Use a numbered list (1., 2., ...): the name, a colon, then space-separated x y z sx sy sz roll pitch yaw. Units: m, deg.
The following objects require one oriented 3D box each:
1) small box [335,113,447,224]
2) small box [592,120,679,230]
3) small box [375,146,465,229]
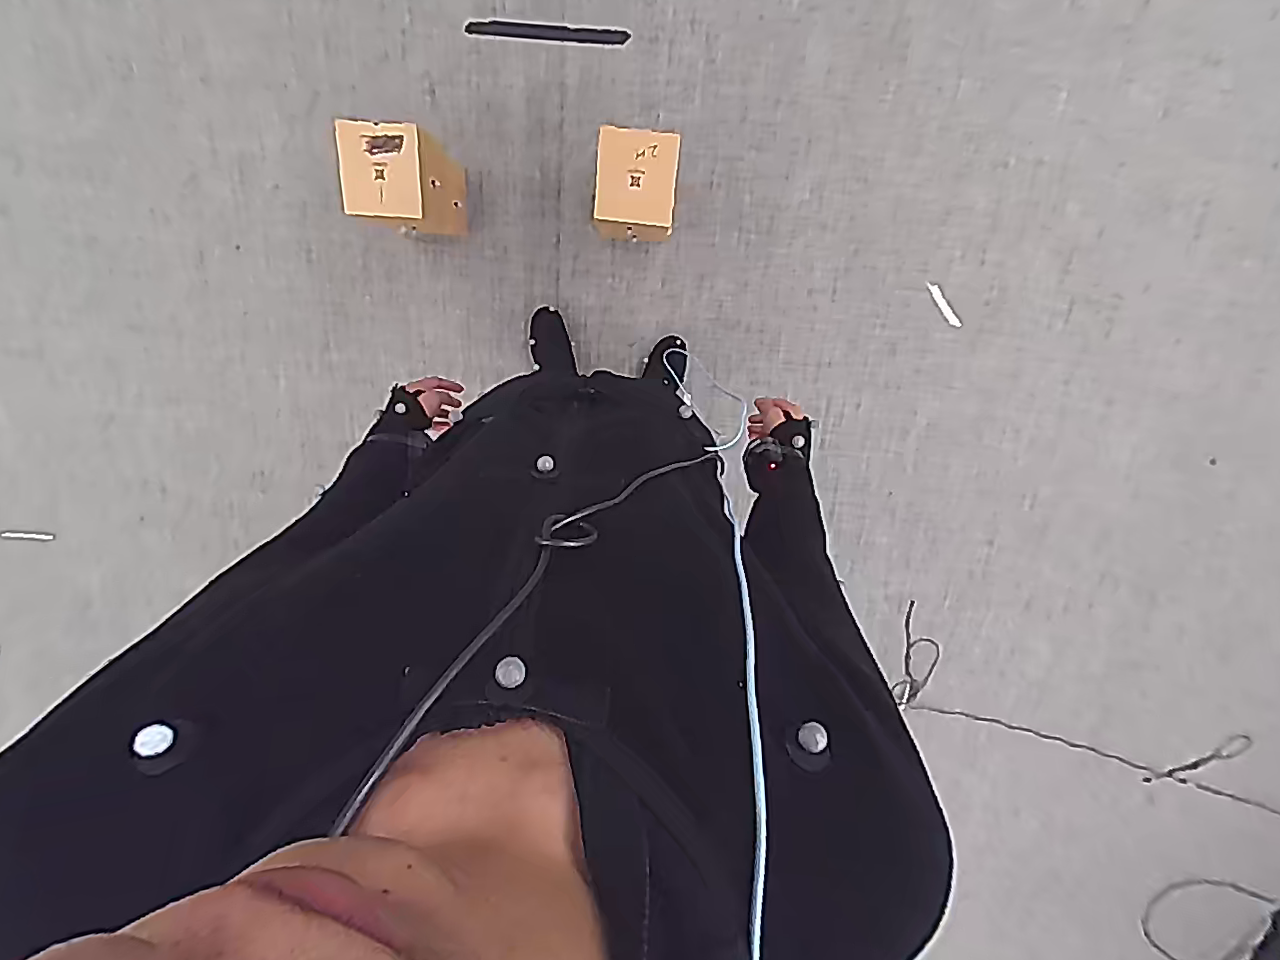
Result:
1. small box: -0.529 -0.665 1.171 0.168 0.176 0.179 3 110 -1
2. small box: -0.011 -0.655 1.184 0.168 0.176 0.179 5 109 -3
3. small box: -0.537 -0.716 1.327 0.179 0.176 0.168 3 109 -1
